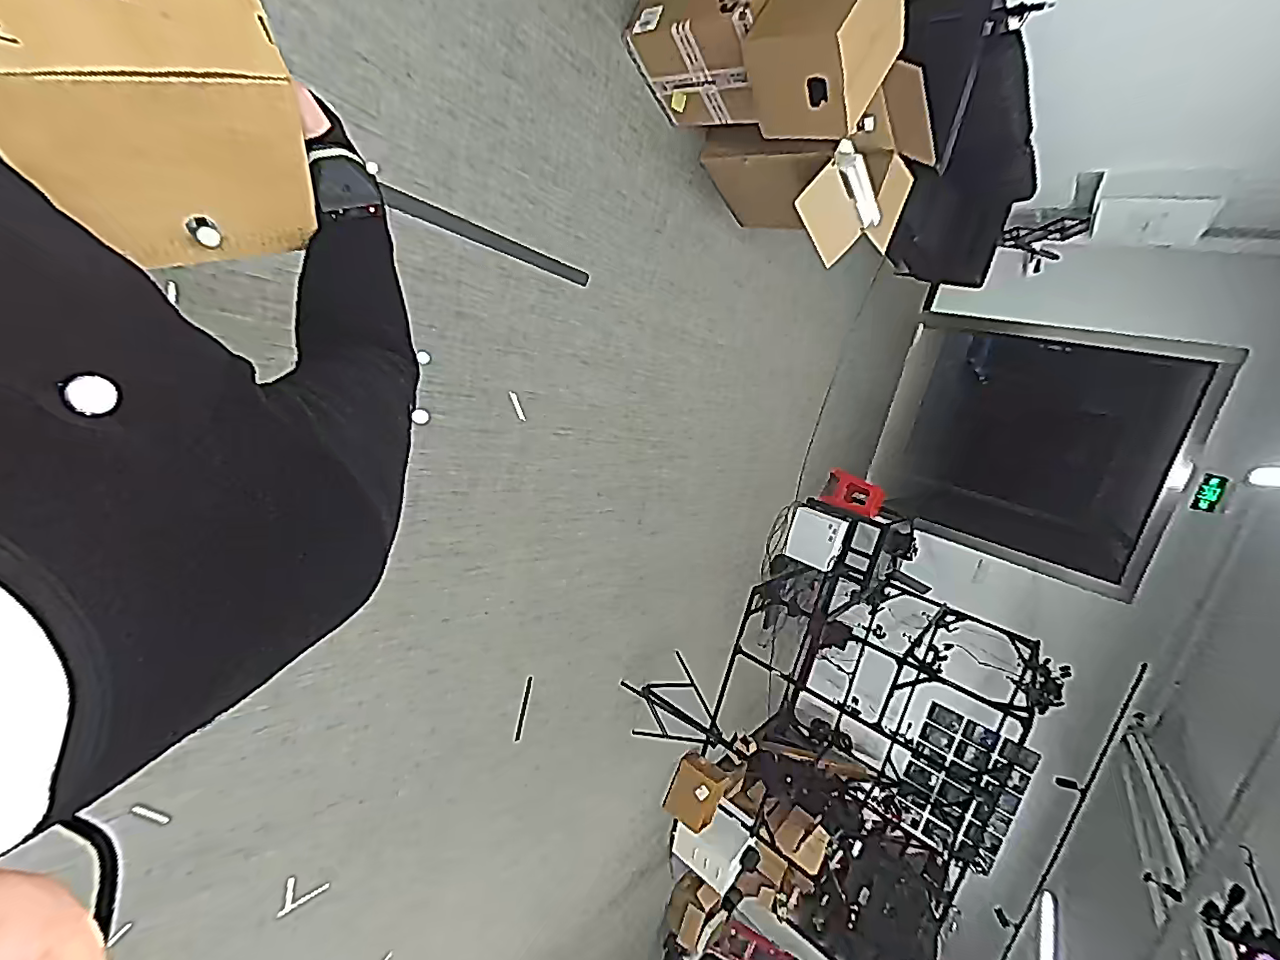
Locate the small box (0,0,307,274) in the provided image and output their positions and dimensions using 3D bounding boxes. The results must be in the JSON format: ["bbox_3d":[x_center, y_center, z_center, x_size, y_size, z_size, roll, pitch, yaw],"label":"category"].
[{"bbox_3d":[-0.391,-0.294,0.434,0.179,0.168,0.176,-24,171,-31],"label":"small box"}]
